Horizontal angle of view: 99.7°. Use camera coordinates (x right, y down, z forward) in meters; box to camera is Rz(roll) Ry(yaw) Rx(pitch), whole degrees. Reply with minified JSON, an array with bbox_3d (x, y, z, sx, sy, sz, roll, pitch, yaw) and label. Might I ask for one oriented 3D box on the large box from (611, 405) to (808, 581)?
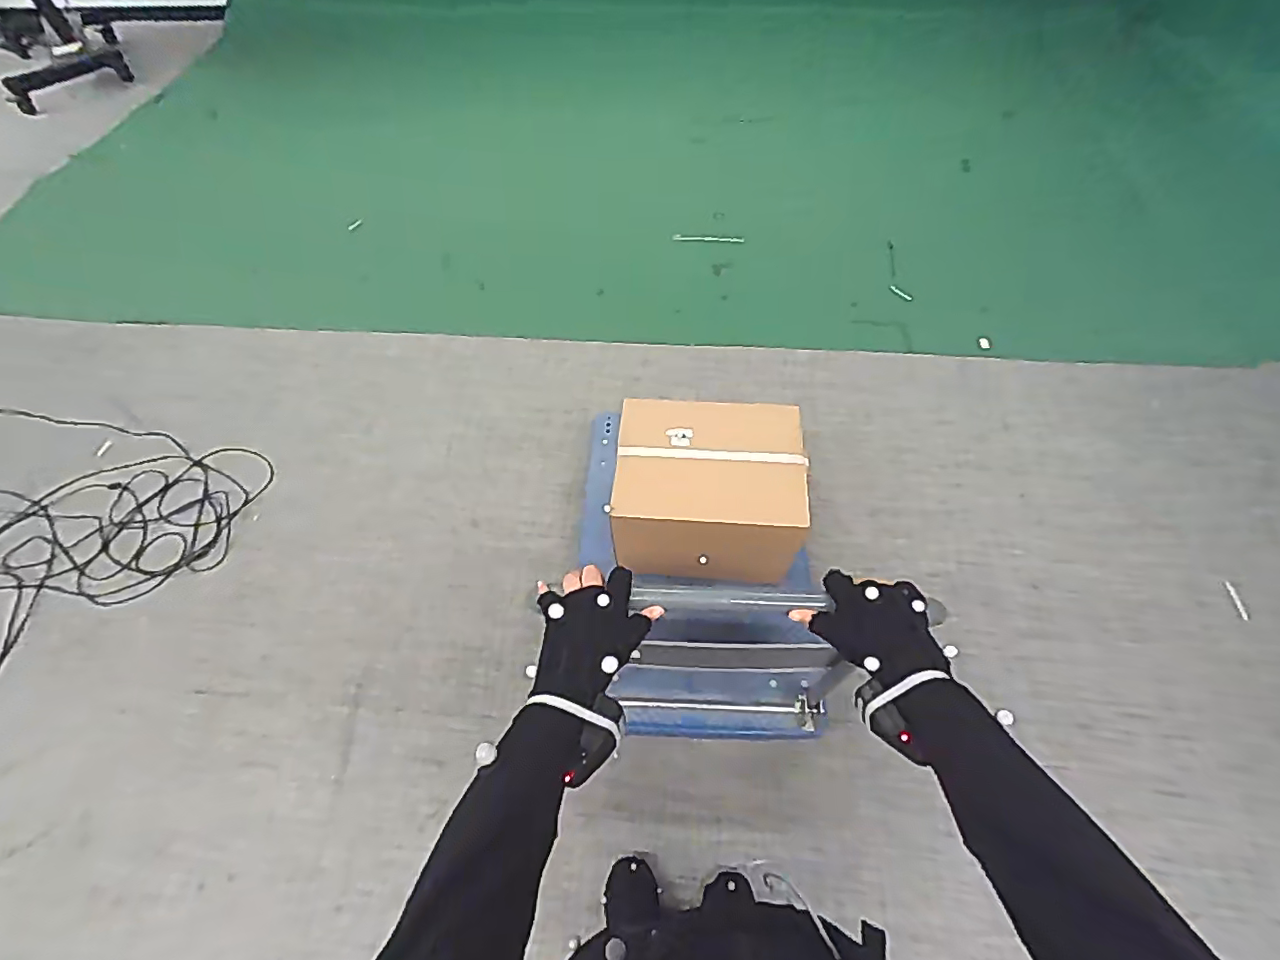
[{"bbox_3d":[0.156,0.038,1.289,0.408,0.320,0.320,3,58,5],"label":"large box"}]
